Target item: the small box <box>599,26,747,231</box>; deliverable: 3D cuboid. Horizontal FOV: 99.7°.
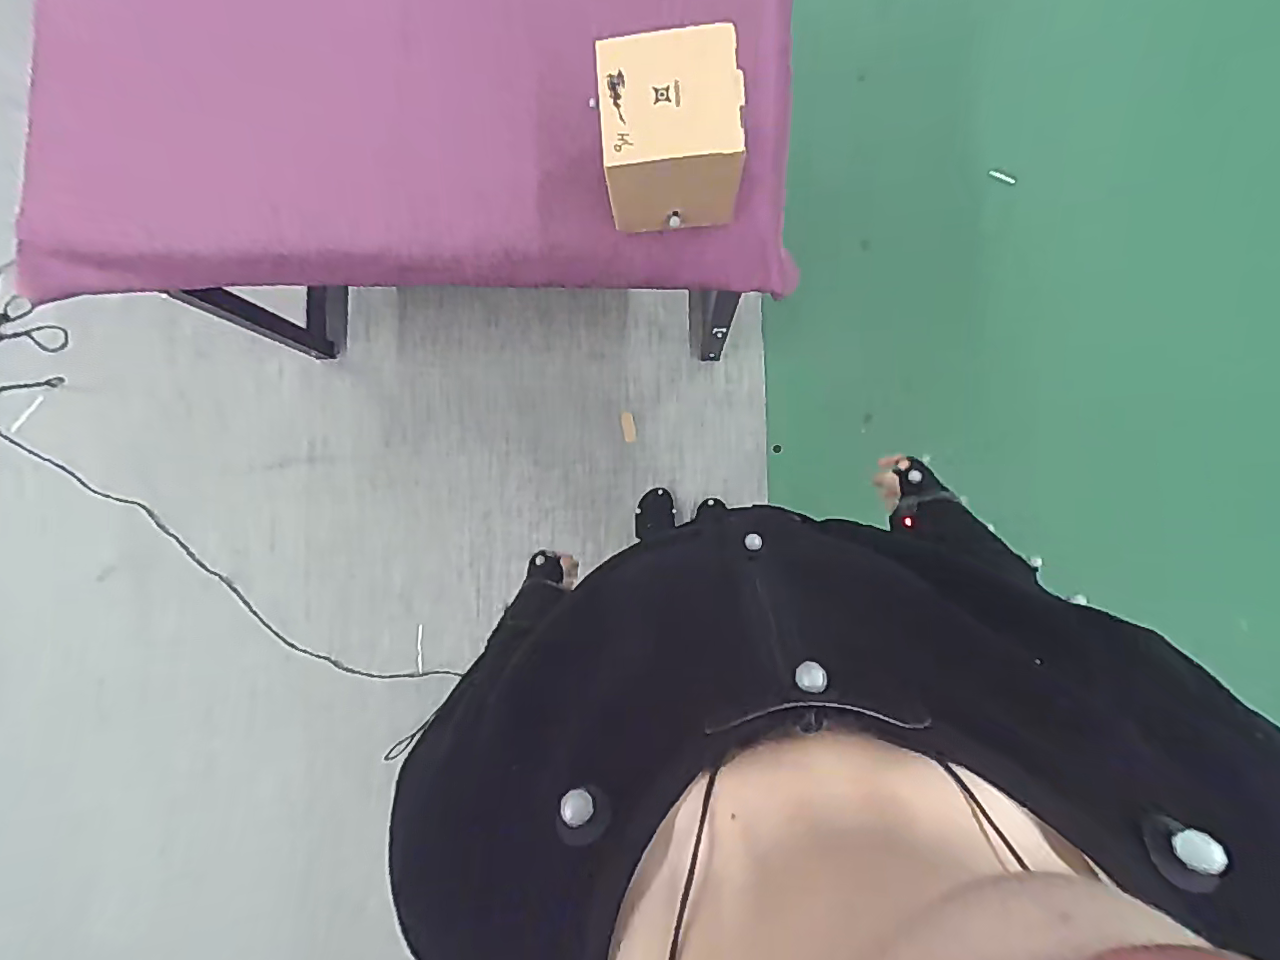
[{"bbox_3d":[0.043,-0.464,0.740,0.179,0.176,0.168,-4,87,3],"label":"small box"}]
